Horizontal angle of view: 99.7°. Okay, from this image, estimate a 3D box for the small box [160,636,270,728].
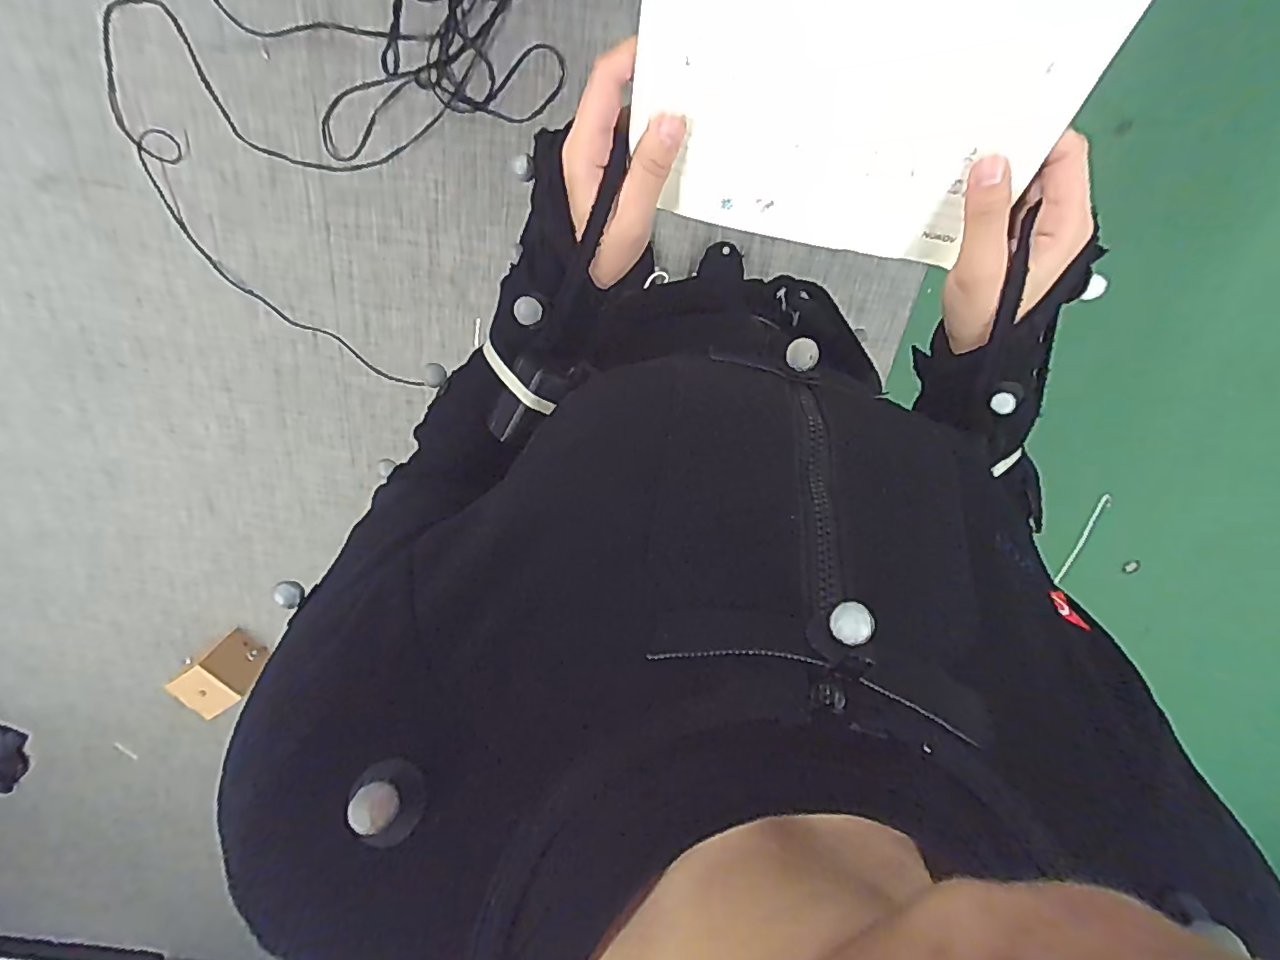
[{"bbox_3d":[-1.310,0.624,1.681,0.179,0.176,0.168,-32,111,15],"label":"small box"}]
